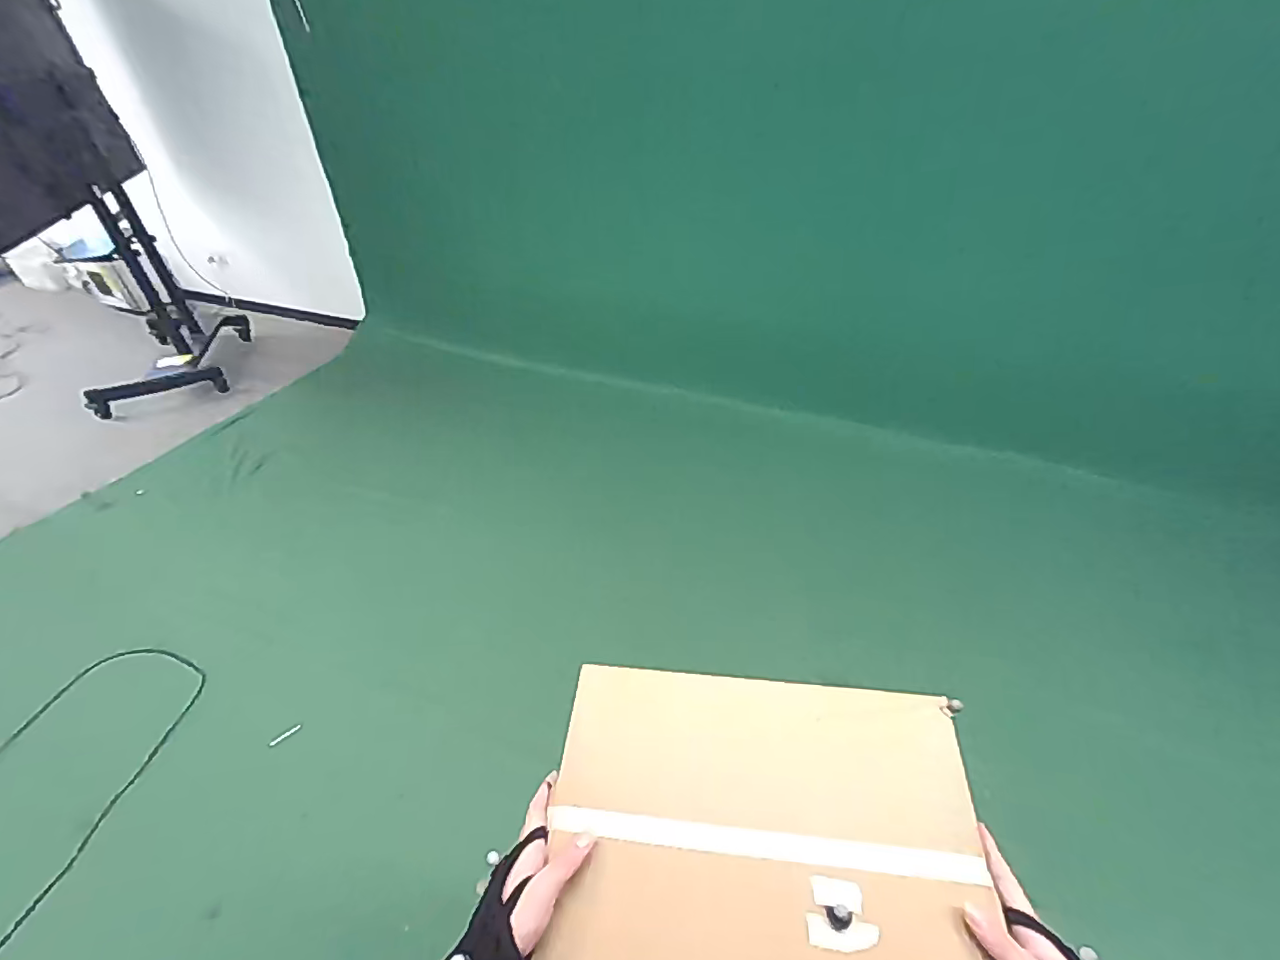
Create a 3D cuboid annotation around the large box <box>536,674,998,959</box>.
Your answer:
[{"bbox_3d":[0.123,0.451,0.633,0.408,0.320,0.320,3,50,7],"label":"large box"}]
